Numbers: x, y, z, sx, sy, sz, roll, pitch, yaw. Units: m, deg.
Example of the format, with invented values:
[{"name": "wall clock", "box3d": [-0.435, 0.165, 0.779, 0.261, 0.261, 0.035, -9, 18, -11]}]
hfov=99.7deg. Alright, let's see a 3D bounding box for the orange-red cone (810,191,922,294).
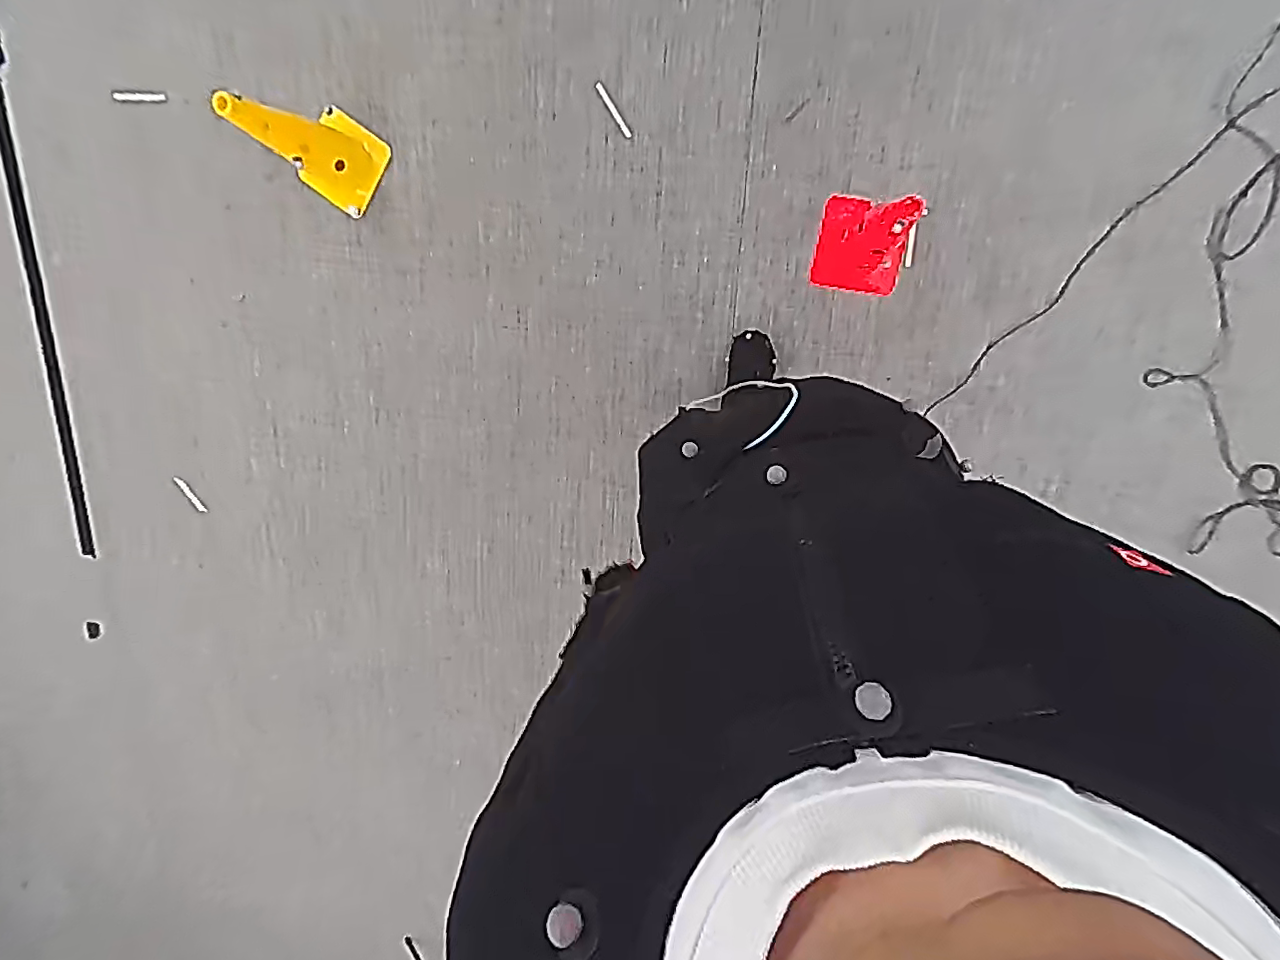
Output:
[{"name": "orange-red cone", "box3d": [0.486, -0.509, 1.090, 0.199, 0.360, 0.198, 13, 104, 6]}]
